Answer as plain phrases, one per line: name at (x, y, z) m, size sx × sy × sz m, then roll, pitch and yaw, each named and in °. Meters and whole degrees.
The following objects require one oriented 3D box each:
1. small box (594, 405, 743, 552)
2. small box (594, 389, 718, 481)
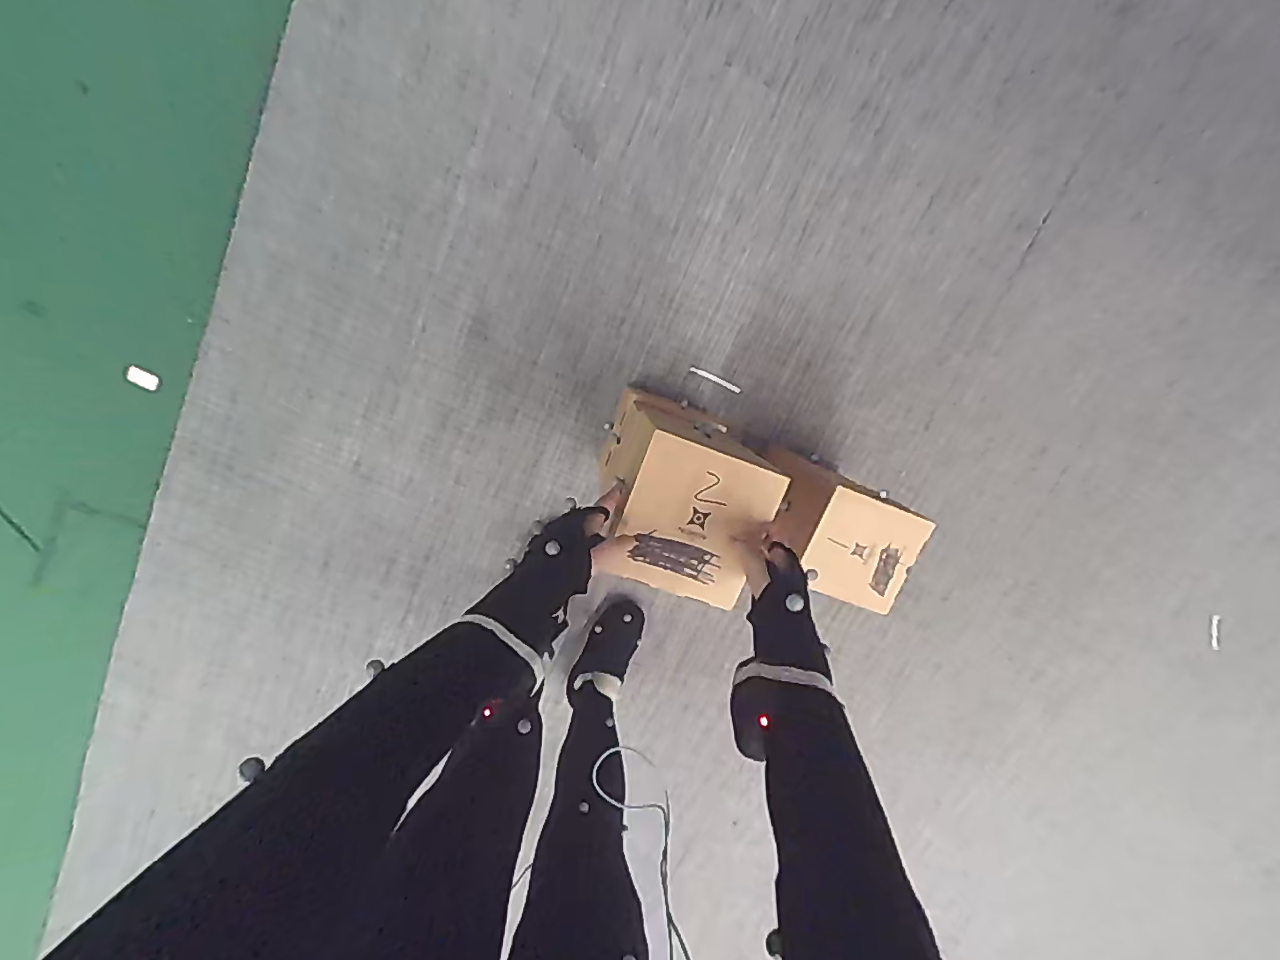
small box at (0.035, -0.012, 0.861) m, size 0.179 × 0.176 × 0.168 m, roll 20°, pitch 101°, yaw -9°
small box at (0.022, -0.064, 1.015) m, size 0.179 × 0.176 × 0.168 m, roll 20°, pitch 102°, yaw -9°
